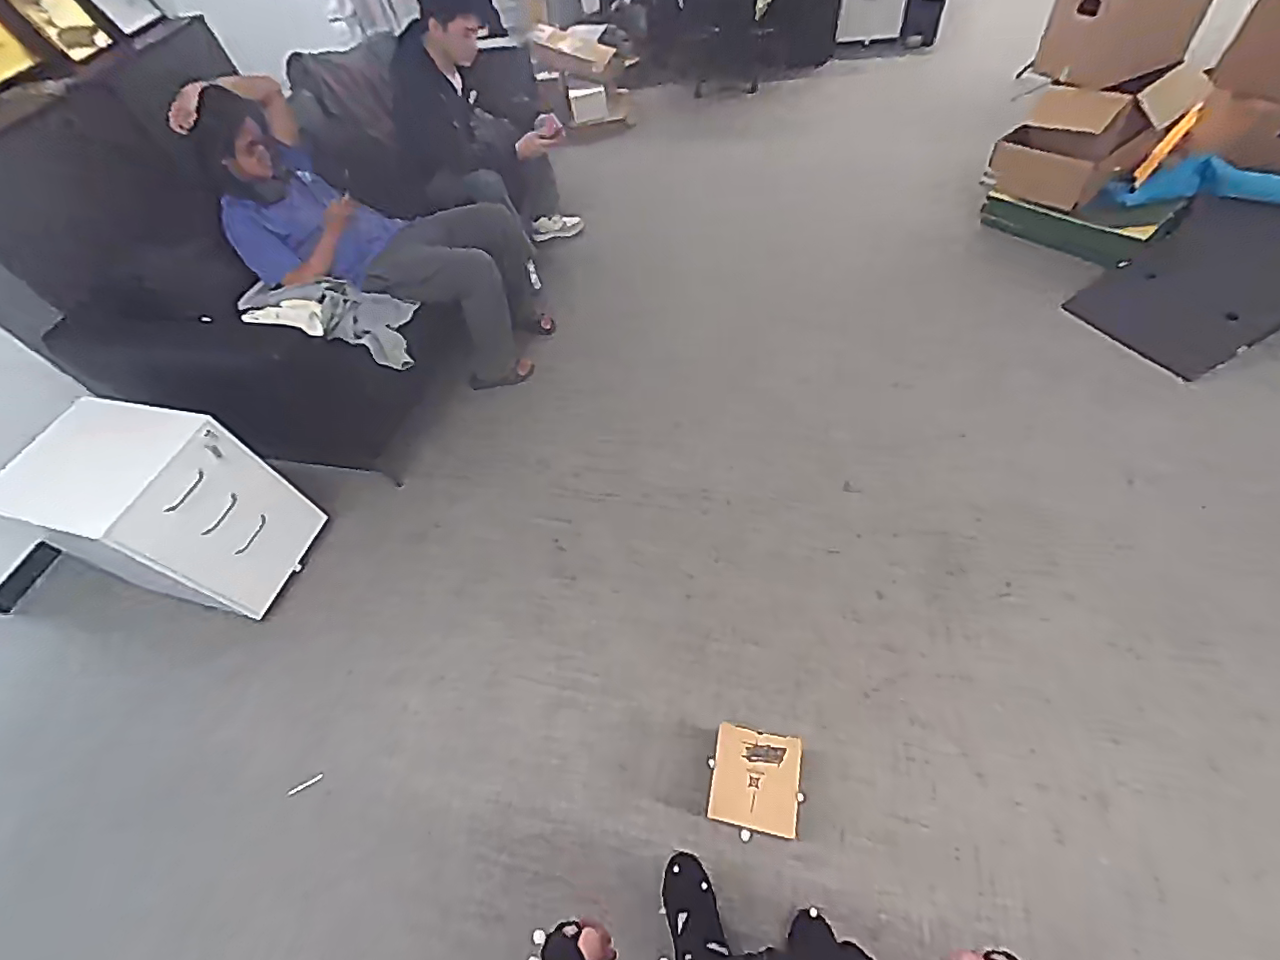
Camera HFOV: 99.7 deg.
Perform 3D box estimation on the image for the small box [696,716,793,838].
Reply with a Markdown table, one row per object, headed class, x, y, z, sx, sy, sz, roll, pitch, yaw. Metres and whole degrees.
| class | x | y | z | sx | sy | sz | roll | pitch | yaw |
| --- | --- | --- | --- | --- | --- | --- | --- | --- | --- |
| small box | 0.218 | 0.621 | 1.128 | 0.168 | 0.176 | 0.179 | 9 | 57 | 16 |
